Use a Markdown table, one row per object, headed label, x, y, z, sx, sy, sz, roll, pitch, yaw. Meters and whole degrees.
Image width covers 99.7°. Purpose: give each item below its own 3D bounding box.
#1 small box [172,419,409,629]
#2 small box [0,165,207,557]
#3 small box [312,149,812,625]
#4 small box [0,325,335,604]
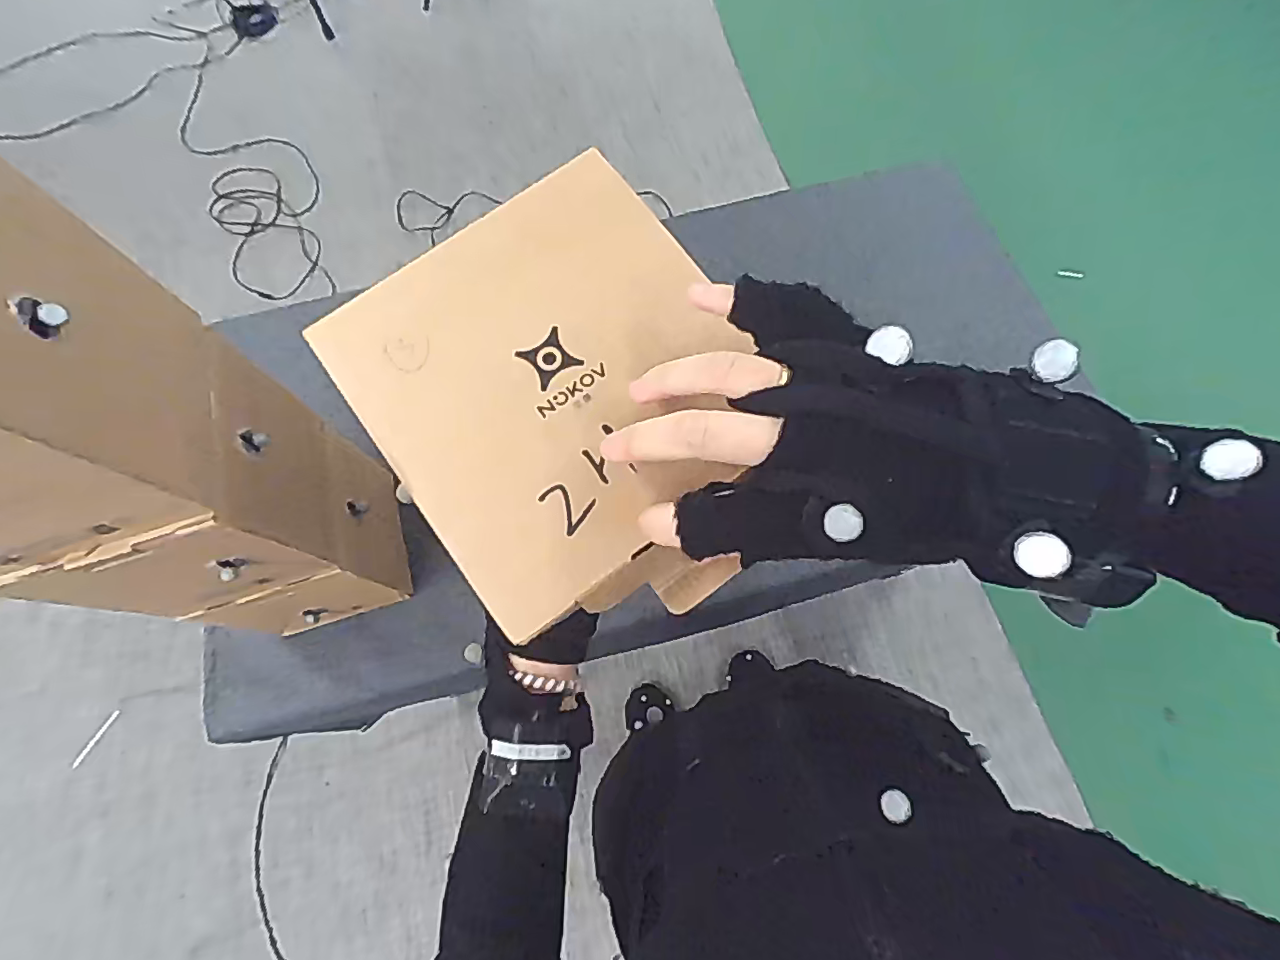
| label | x | y | z | sx | sy | sz | roll | pitch | yaw |
| --- | --- | --- | --- | --- | --- | --- | --- | --- | --- |
| small box | -0.391 | 0.060 | 0.627 | 0.168 | 0.176 | 0.179 | -17 | 71 | -5 |
| small box | -0.403 | -0.061 | 0.324 | 0.168 | 0.176 | 0.179 | -18 | 70 | -6 |
| small box | -0.038 | -0.036 | 0.322 | 0.168 | 0.176 | 0.179 | -35 | 82 | -6 |
| small box | -0.396 | 0.002 | 0.475 | 0.168 | 0.176 | 0.179 | -17 | 70 | -5 |
